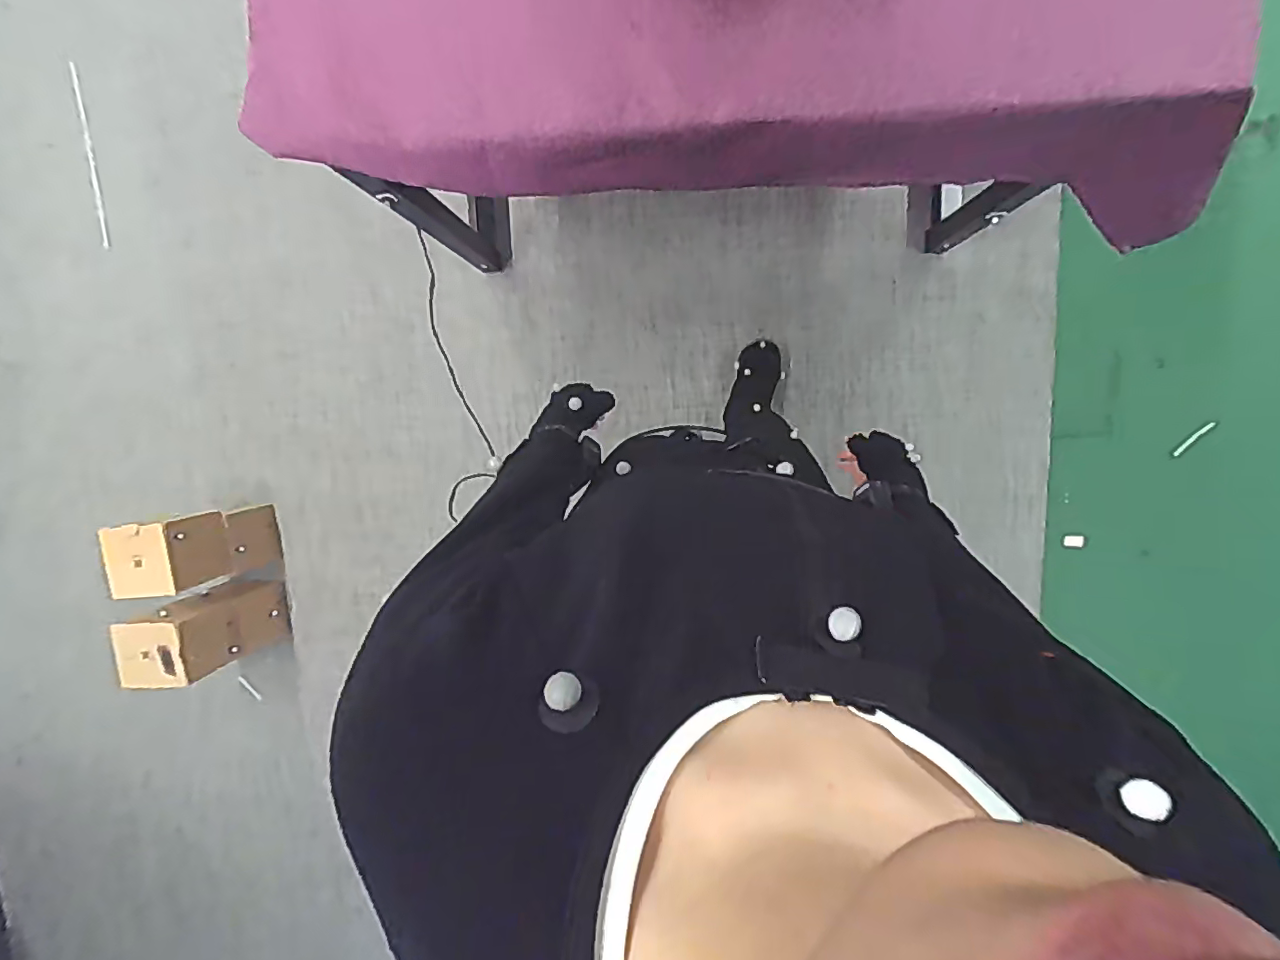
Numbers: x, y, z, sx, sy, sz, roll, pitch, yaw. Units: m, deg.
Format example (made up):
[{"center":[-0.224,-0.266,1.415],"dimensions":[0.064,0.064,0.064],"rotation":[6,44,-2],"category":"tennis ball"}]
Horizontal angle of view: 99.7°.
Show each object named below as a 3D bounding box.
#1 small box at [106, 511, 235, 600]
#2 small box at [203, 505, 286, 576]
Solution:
[{"center":[-1.156,0.183,1.347],"dimensions":[0.168,0.176,0.179],"rotation":[-5,97,5],"category":"small box"},{"center":[-1.138,0.167,1.508],"dimensions":[0.179,0.176,0.168],"rotation":[-4,97,6],"category":"small box"}]
